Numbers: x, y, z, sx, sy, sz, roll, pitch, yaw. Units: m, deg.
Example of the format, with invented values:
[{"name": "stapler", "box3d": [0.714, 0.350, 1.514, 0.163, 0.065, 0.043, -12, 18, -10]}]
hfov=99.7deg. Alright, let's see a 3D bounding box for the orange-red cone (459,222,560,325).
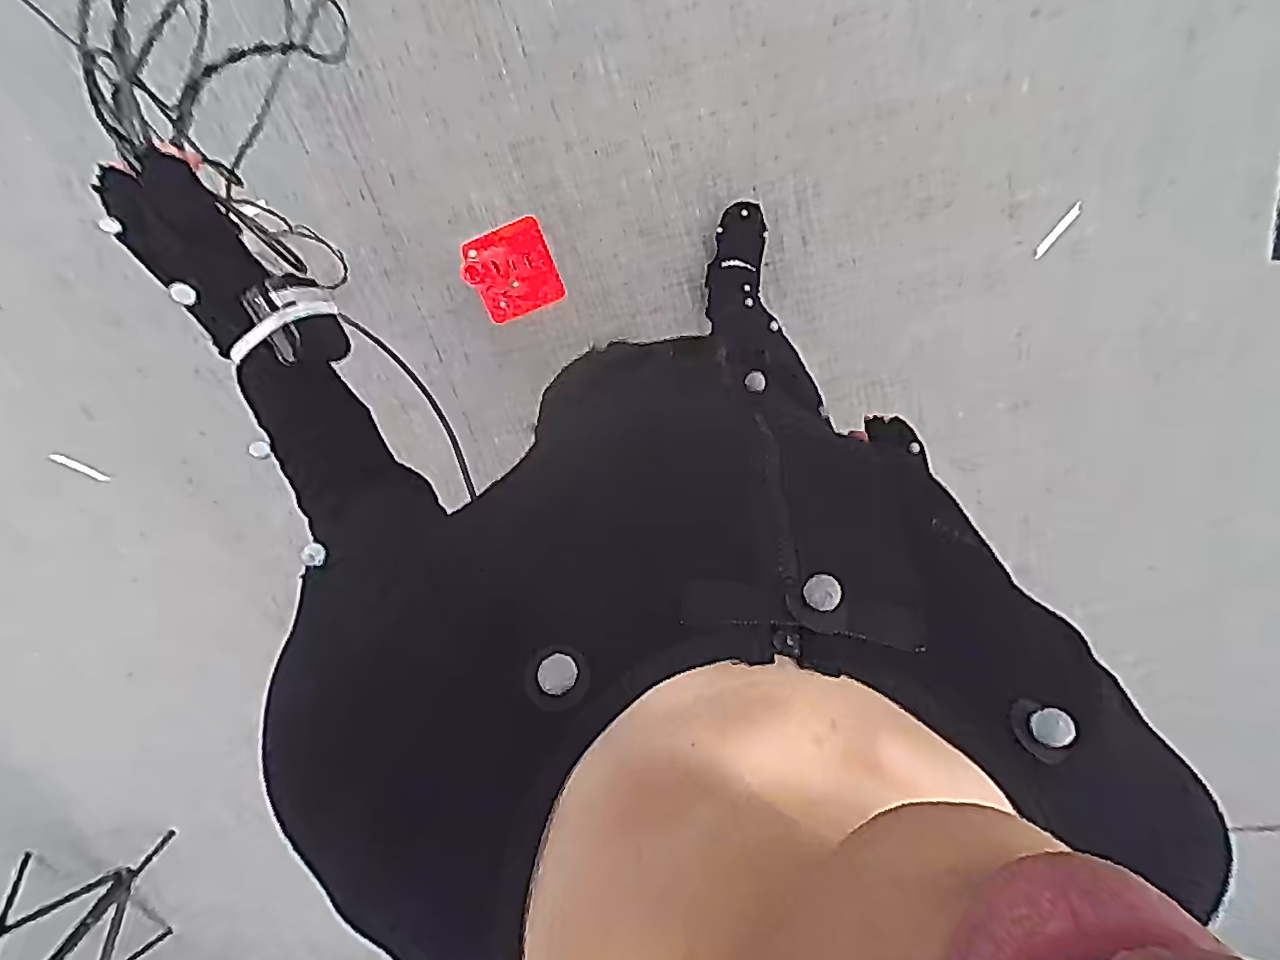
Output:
[{"name": "orange-red cone", "box3d": [-0.307, -0.430, 1.135, 0.199, 0.360, 0.198, -20, 111, 6]}]
